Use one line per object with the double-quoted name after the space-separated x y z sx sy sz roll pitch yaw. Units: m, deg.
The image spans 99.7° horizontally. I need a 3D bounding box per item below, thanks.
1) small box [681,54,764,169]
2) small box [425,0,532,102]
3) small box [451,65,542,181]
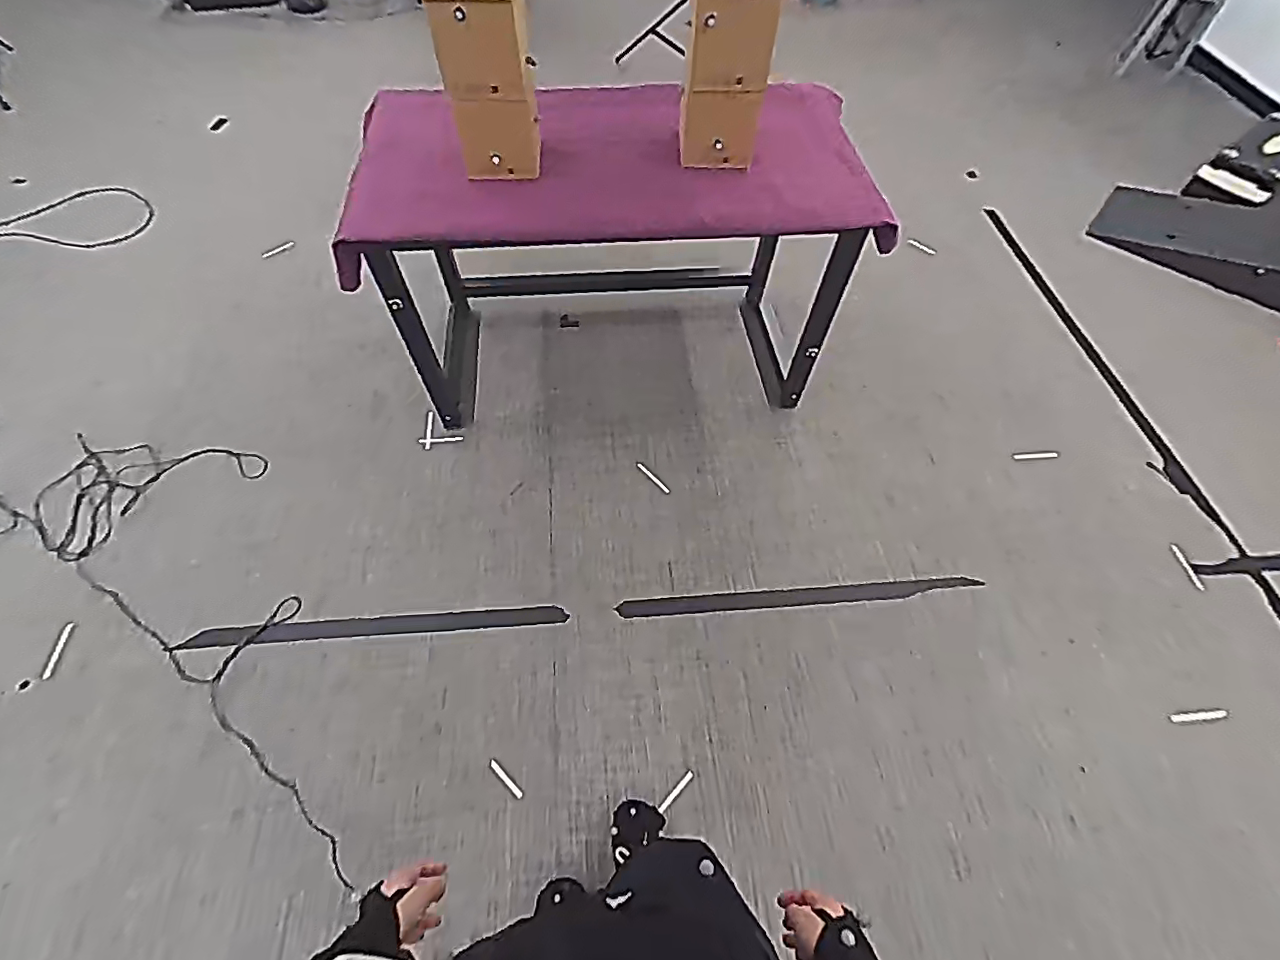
0.186 -0.865 1.271 0.168 0.176 0.179 1 59 0 "small box"
-0.314 -0.893 1.084 0.168 0.176 0.179 -2 59 -2 "small box"
-0.316 -0.809 1.225 0.168 0.176 0.179 -3 60 -3 "small box"
